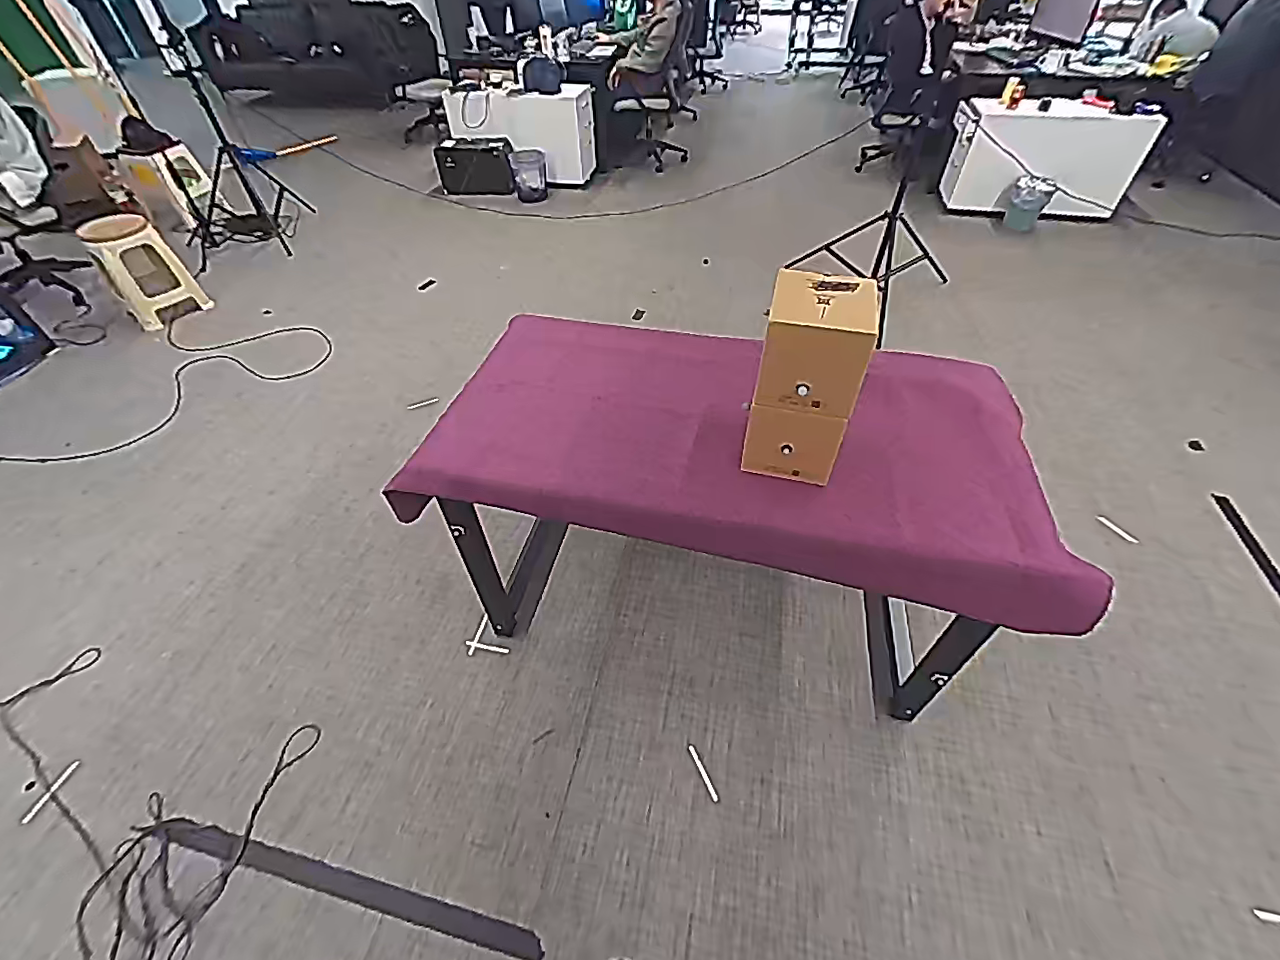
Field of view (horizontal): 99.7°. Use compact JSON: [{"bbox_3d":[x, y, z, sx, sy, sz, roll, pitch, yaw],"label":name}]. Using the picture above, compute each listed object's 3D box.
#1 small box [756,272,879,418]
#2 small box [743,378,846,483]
[{"bbox_3d":[0.301,-0.233,0.933,0.168,0.176,0.179,11,48,11],"label":"small box"},{"bbox_3d":[0.299,-0.118,1.050,0.168,0.176,0.179,11,47,11],"label":"small box"}]
